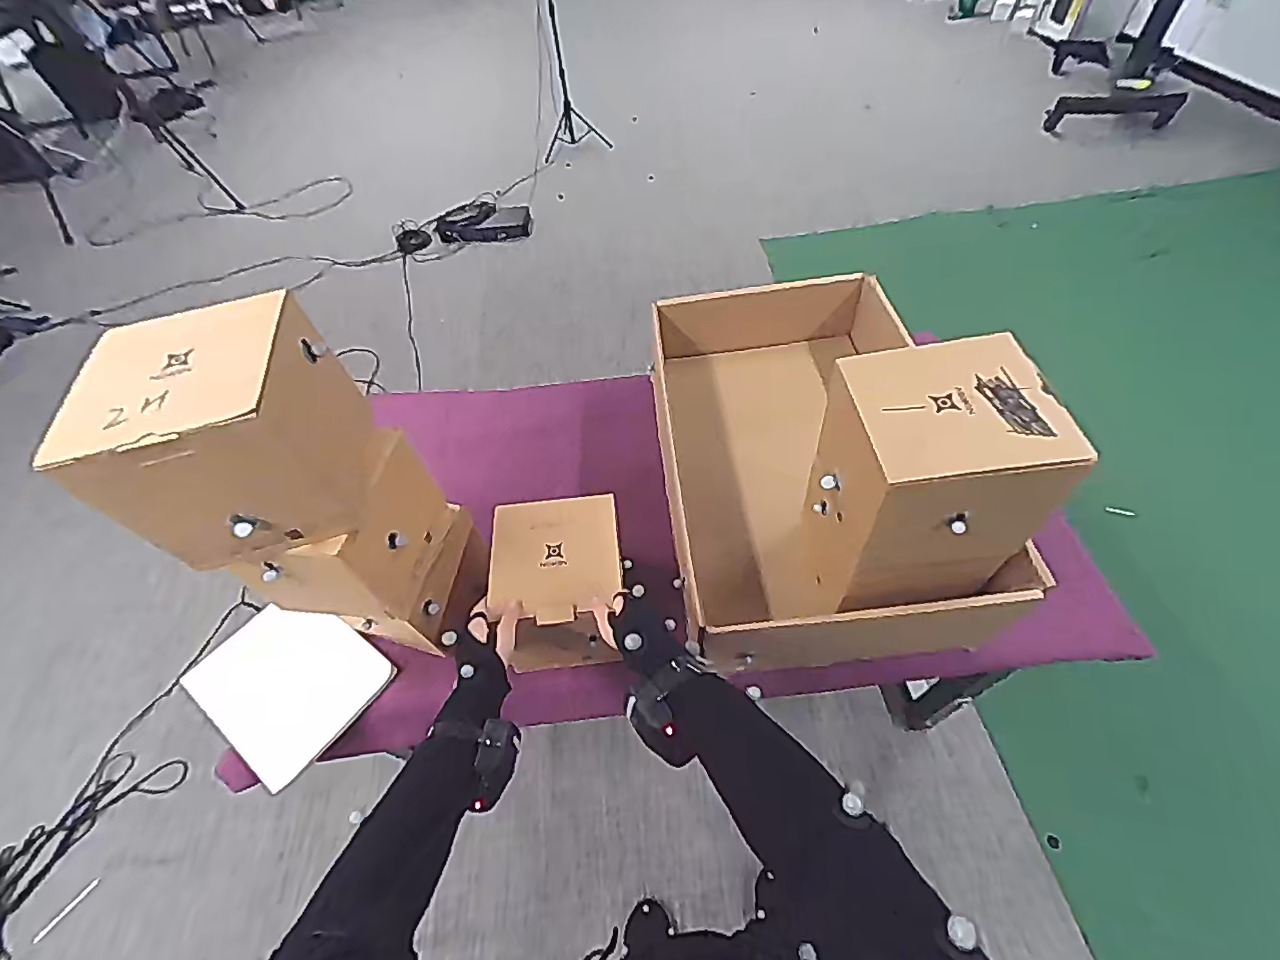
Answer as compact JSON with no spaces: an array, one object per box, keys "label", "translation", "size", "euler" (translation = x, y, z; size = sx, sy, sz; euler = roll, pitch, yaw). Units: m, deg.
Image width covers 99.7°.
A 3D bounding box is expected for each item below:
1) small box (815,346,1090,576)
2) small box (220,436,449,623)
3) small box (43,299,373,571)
[{"label":"small box","translation":[0.300,-0.014,0.570],"size":[0.179,0.176,0.168],"euler":[-7,52,4]},{"label":"small box","translation":[-0.358,0.060,0.650],"size":[0.179,0.176,0.168],"euler":[3,53,9]},{"label":"small box","translation":[-0.378,-0.041,0.521],"size":[0.168,0.176,0.179],"euler":[-15,53,-4]}]
